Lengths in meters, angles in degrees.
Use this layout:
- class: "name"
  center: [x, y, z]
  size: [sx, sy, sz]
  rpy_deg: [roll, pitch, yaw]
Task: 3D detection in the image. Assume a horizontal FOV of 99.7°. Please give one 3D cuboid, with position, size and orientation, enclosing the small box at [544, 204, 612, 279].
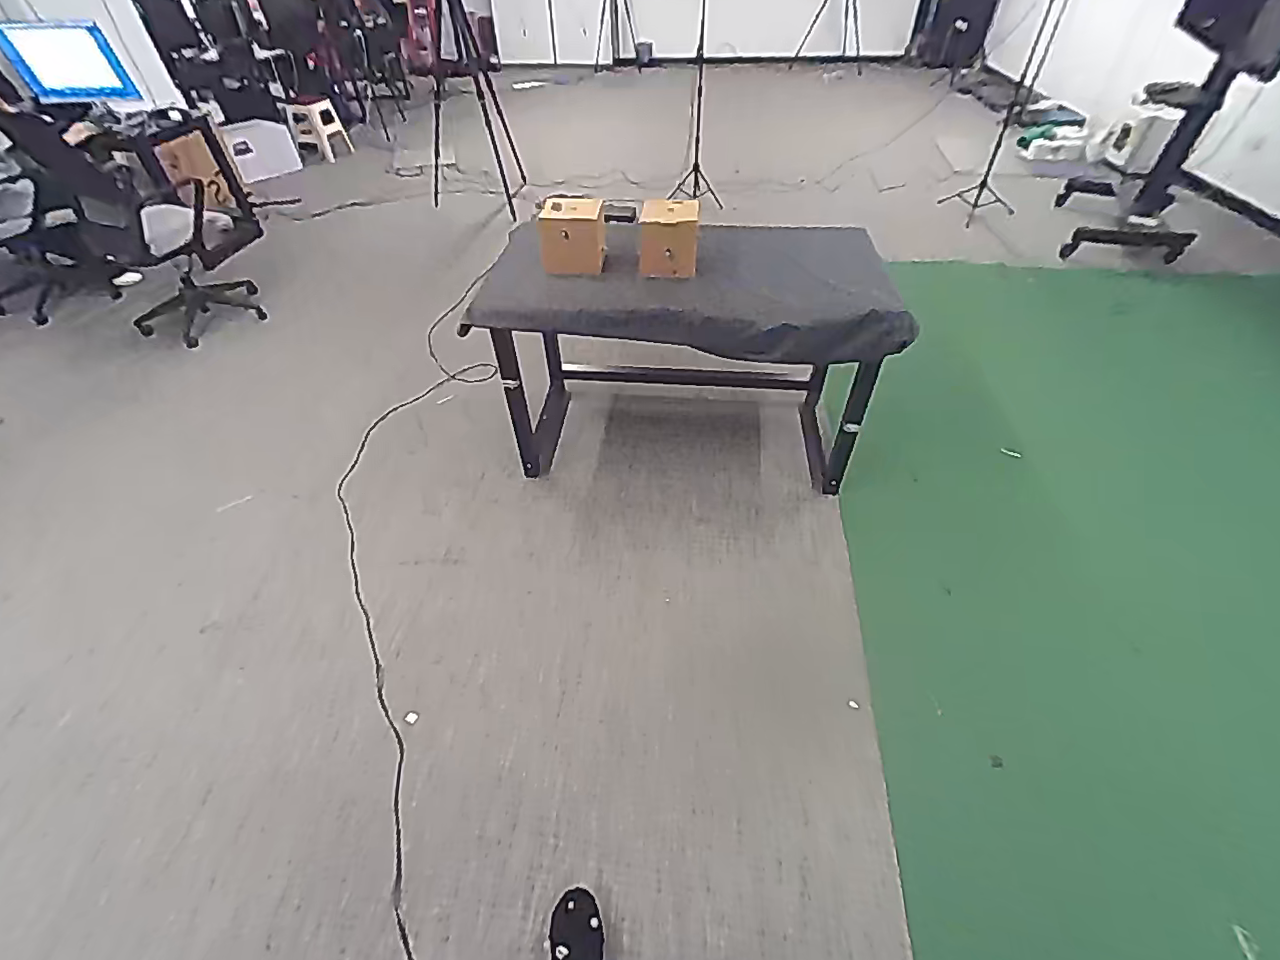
- class: "small box"
  center: [-0.186, -0.737, 1.670]
  size: [0.179, 0.176, 0.168]
  rpy_deg: [3, 45, 3]

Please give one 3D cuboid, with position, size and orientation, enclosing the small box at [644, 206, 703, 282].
- class: "small box"
  center: [0.105, -0.715, 1.642]
  size: [0.168, 0.176, 0.179]
  rpy_deg: [4, 46, 5]
